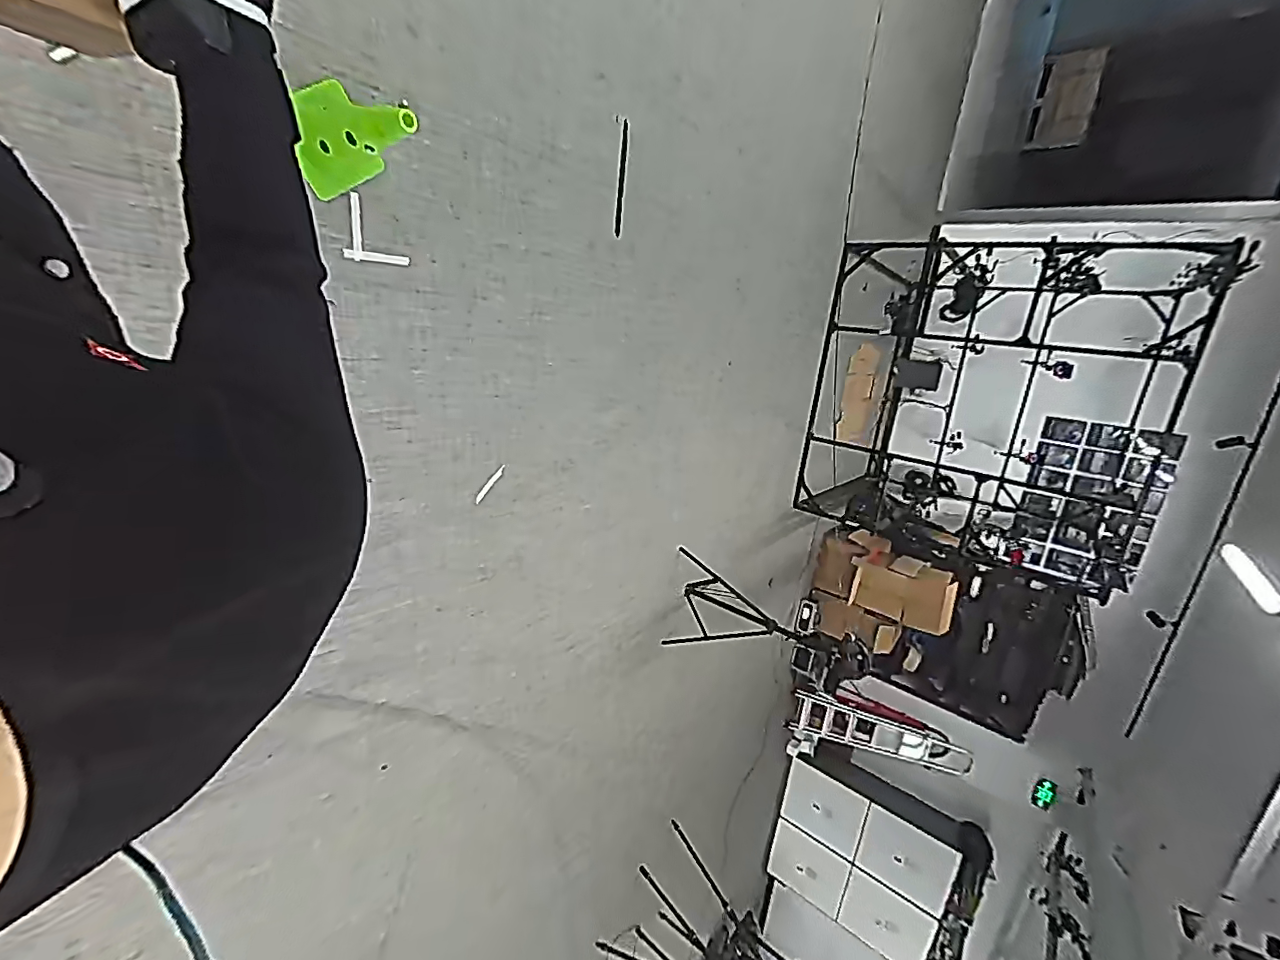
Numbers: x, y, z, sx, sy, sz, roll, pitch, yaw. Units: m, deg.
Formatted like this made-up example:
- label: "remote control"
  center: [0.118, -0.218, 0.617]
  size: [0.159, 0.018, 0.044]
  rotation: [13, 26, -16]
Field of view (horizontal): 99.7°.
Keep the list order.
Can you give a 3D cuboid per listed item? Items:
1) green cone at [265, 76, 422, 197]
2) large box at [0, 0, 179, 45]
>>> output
- label: "green cone"
  center: [-0.592, -0.756, 1.165]
  size: [0.202, 0.368, 0.200]
  rotation: [-53, 141, -28]
- label: "large box"
  center: [-0.531, -0.494, 0.267]
  size: [0.408, 0.320, 0.320]
  rotation: [-10, 123, -51]
